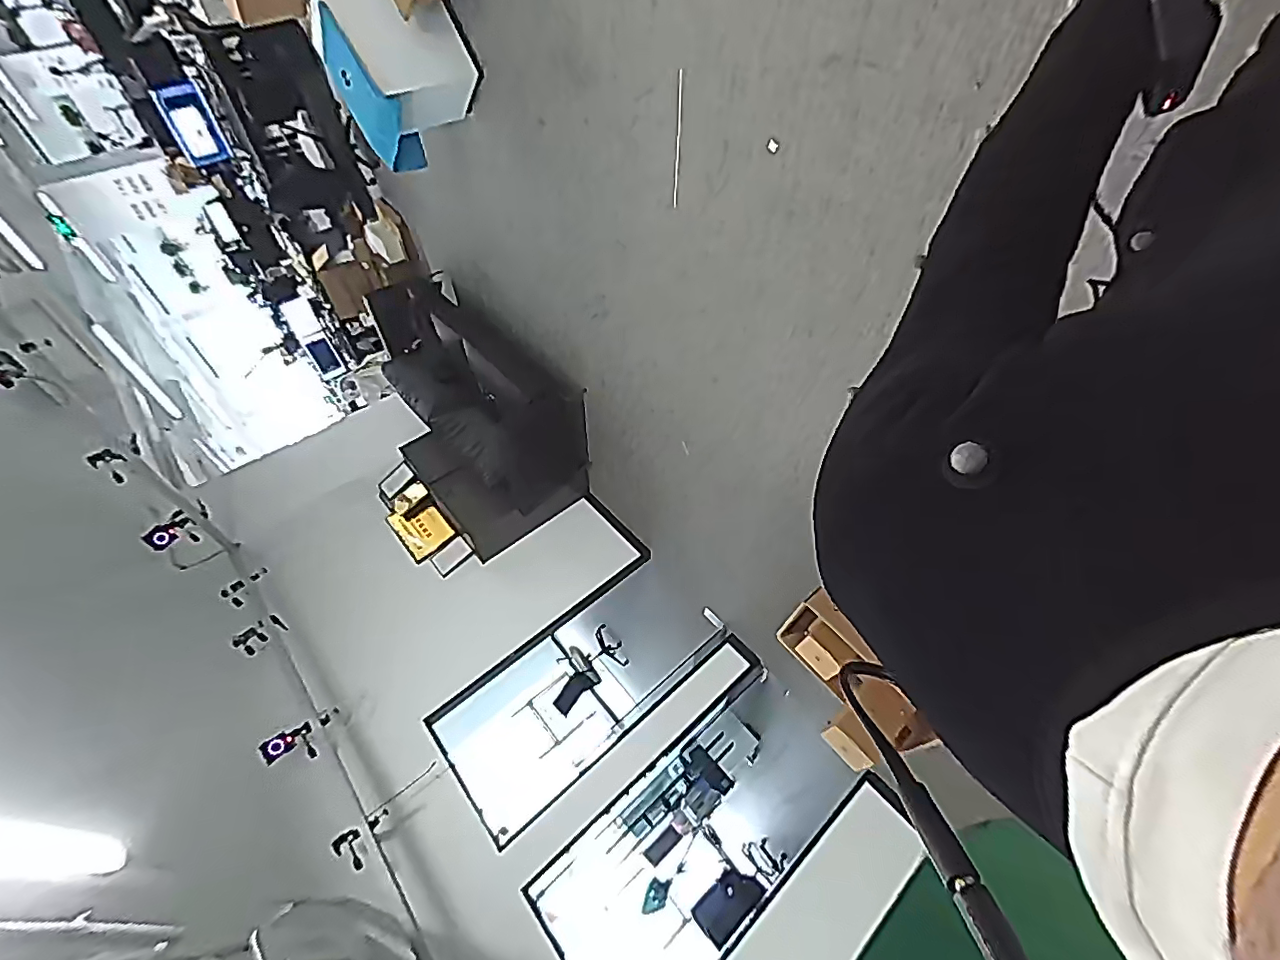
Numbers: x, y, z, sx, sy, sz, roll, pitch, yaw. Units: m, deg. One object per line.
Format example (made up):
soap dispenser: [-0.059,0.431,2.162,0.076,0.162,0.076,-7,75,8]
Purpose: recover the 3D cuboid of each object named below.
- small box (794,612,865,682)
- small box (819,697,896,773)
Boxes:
small box: [0.736,0.648,2.099,0.168,0.176,0.179,46,152,22]
small box: [0.781,0.915,1.940,0.168,0.176,0.179,44,153,23]
